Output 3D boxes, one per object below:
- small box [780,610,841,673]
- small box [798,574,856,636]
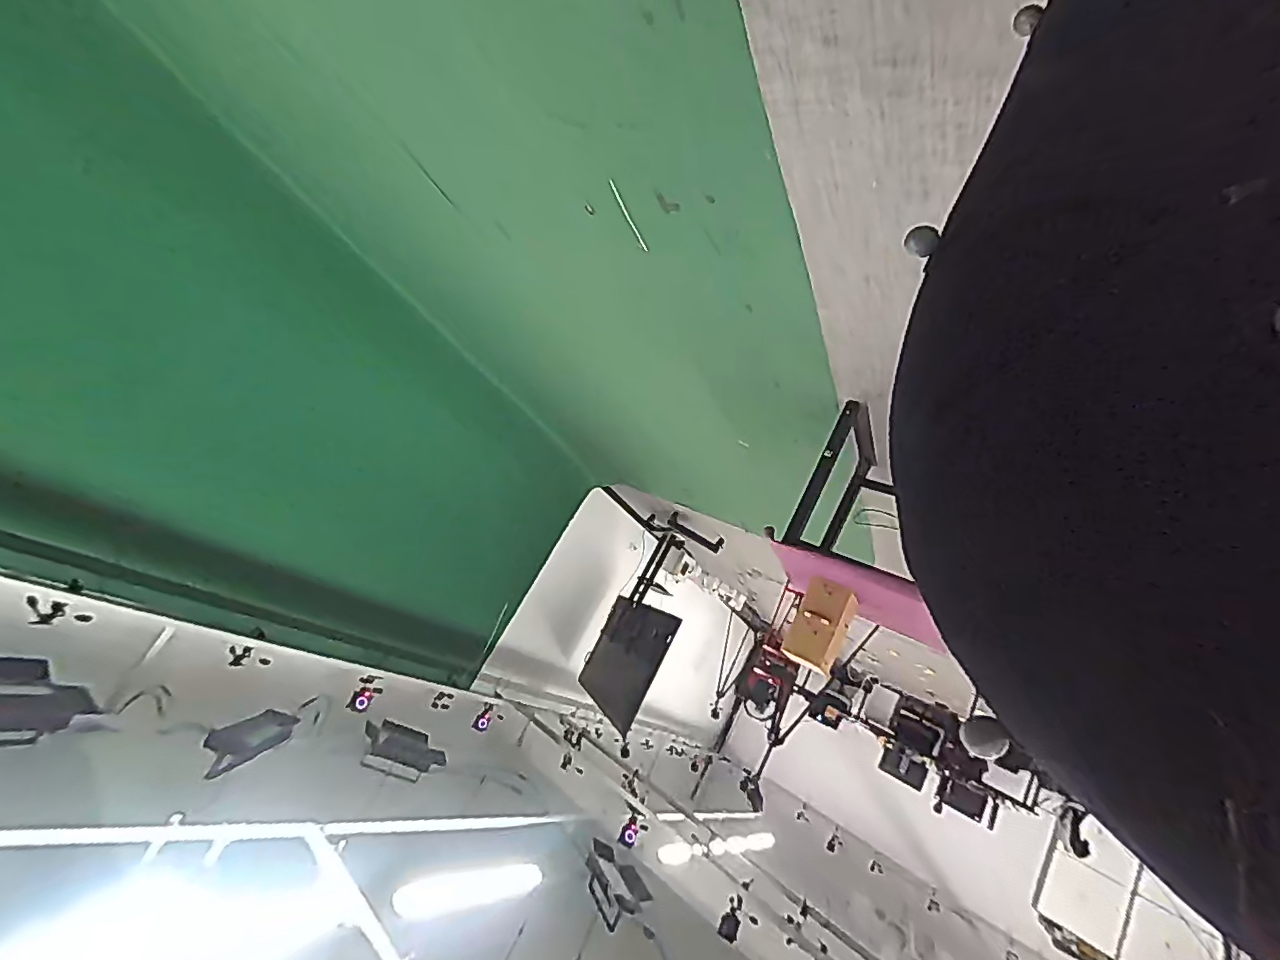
[{"bbox_3d":[0.696,0.652,2.190,0.168,0.176,0.179,19,162,36],"label":"small box"},{"bbox_3d":[0.774,0.512,2.224,0.168,0.176,0.179,18,162,36],"label":"small box"}]
